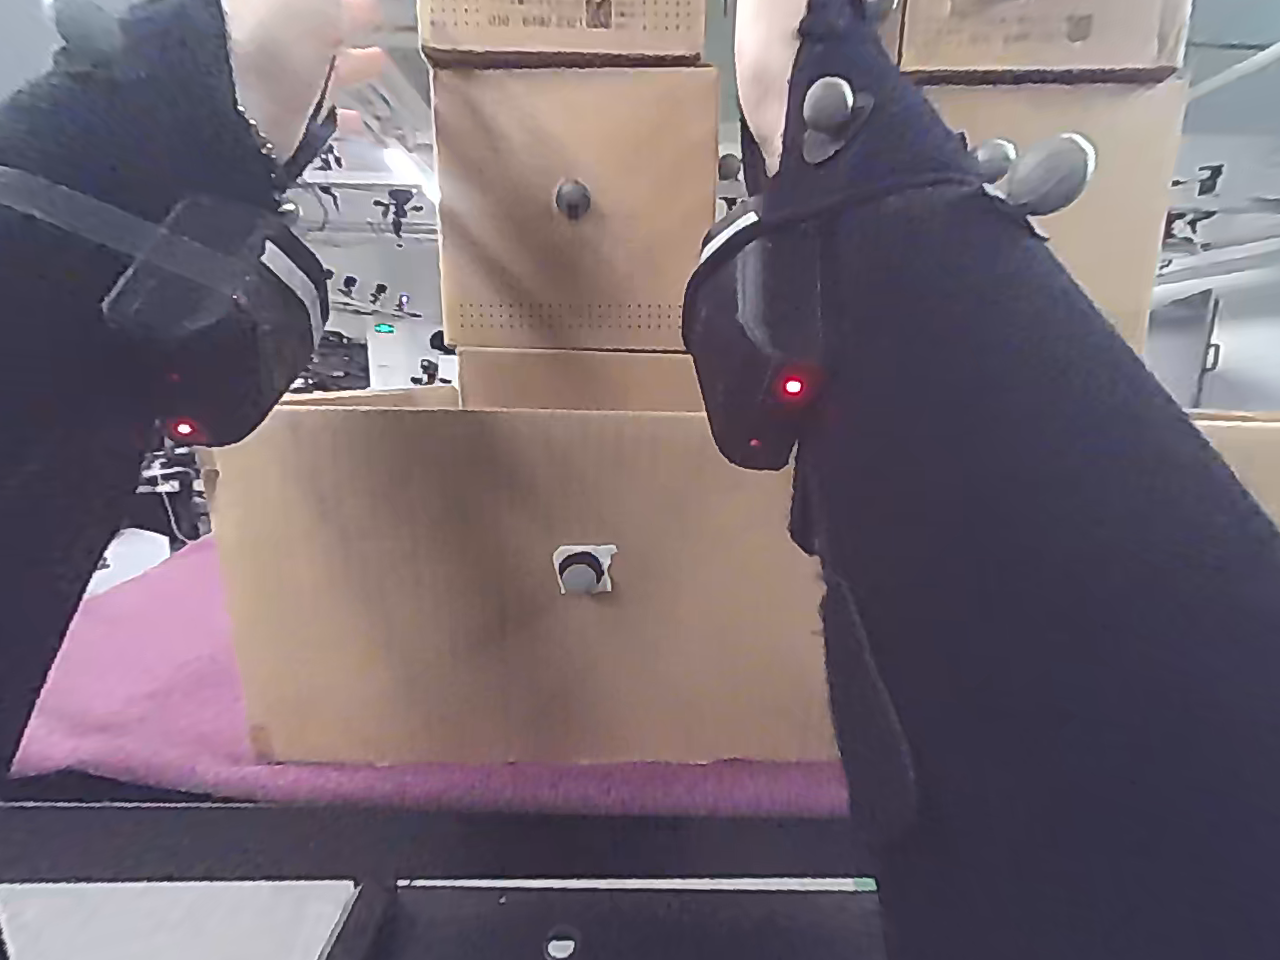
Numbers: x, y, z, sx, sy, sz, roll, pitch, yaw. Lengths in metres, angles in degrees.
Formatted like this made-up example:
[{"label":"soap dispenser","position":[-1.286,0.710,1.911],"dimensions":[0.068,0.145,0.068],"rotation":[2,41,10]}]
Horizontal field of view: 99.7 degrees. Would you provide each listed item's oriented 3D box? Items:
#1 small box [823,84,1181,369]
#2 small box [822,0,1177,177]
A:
[{"label":"small box","position":[0.254,-0.177,0.430],"dimensions":[0.168,0.176,0.179],"rotation":[0,11,2]},{"label":"small box","position":[0.241,-0.336,0.396],"dimensions":[0.168,0.176,0.179],"rotation":[1,11,3]}]
